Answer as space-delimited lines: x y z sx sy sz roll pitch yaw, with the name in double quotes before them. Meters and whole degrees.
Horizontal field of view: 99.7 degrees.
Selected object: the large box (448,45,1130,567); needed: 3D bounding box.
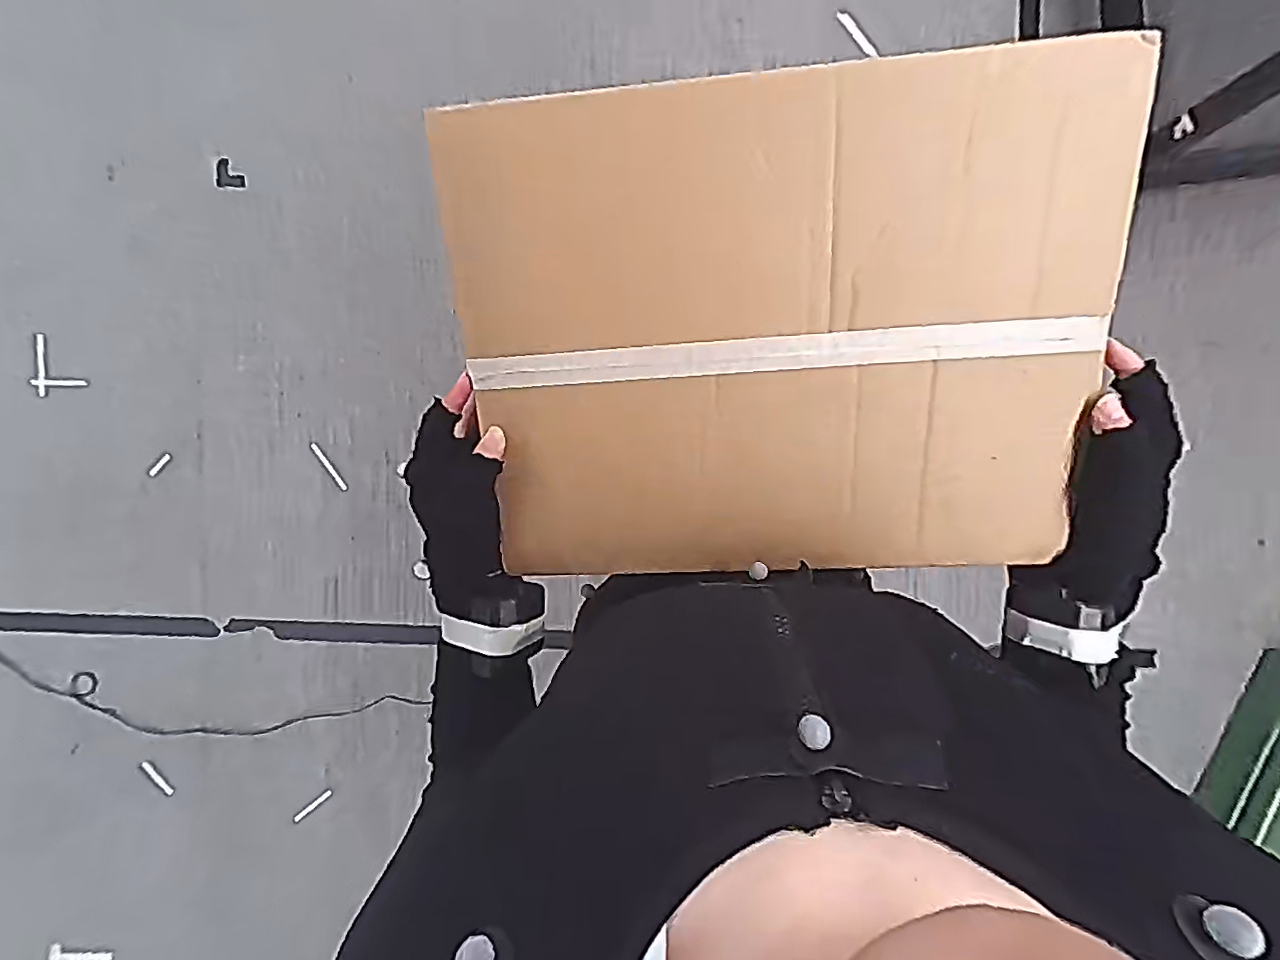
"large box" 0.096 -0.132 0.503 0.408 0.320 0.320 -2 109 5
